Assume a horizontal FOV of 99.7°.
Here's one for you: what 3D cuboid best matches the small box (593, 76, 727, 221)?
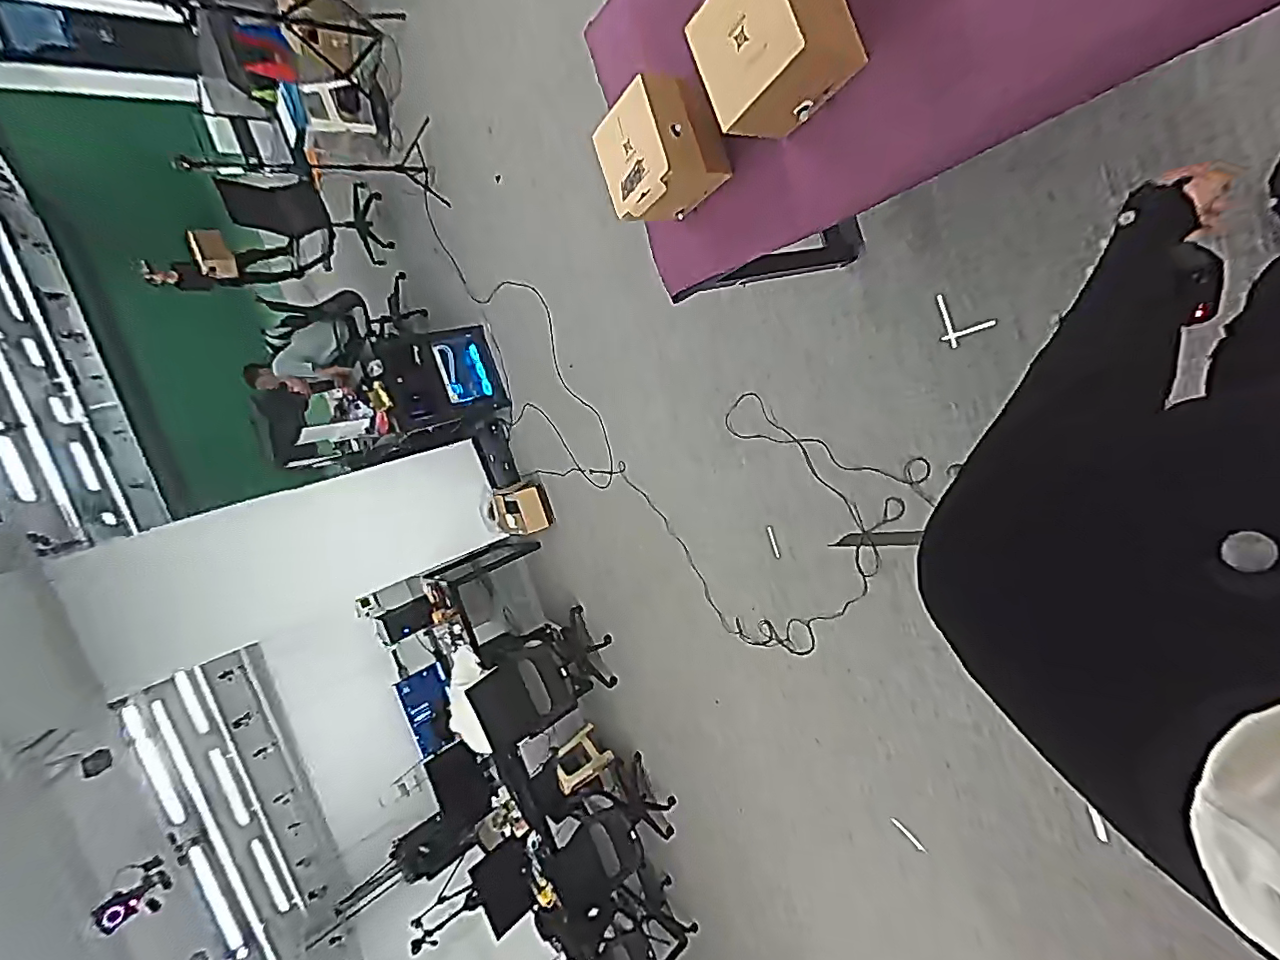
[{"bbox_3d":[0.042,-0.628,1.043,0.168,0.176,0.179,-14,95,54],"label":"small box"}]

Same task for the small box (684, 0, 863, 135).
[{"bbox_3d":[0.203,-0.661,0.823,0.168,0.176,0.179,-19,92,55],"label":"small box"}]
